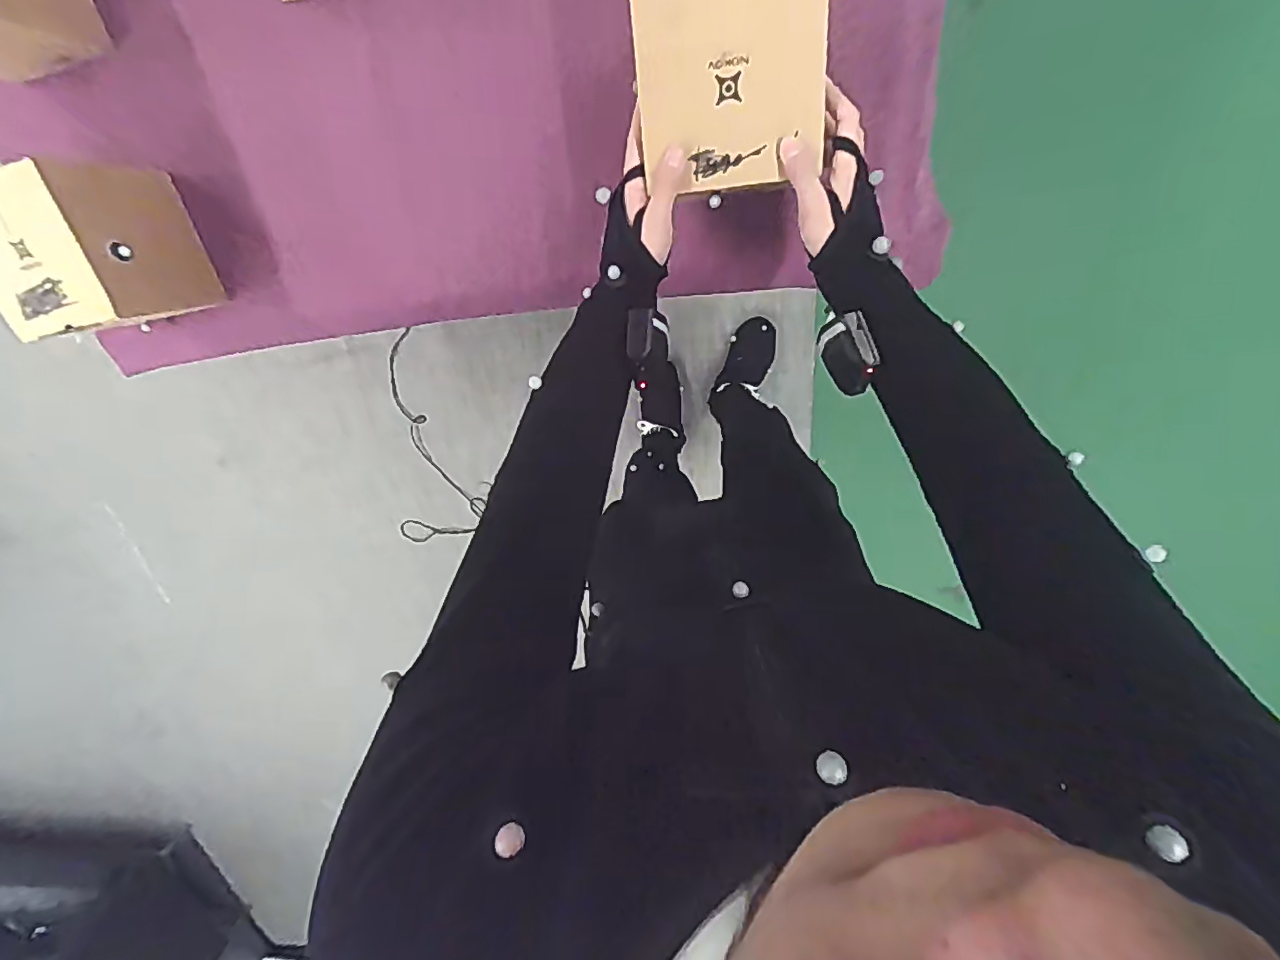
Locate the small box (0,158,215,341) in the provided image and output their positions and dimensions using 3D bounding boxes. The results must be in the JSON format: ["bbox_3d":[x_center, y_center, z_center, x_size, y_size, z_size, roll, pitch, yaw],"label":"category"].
[{"bbox_3d":[-0.713,-0.293,0.698,0.168,0.176,0.179,-7,113,11],"label":"small box"}]

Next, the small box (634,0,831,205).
[{"bbox_3d":[0.090,-0.384,0.543,0.168,0.176,0.179,-2,115,10],"label":"small box"}]
